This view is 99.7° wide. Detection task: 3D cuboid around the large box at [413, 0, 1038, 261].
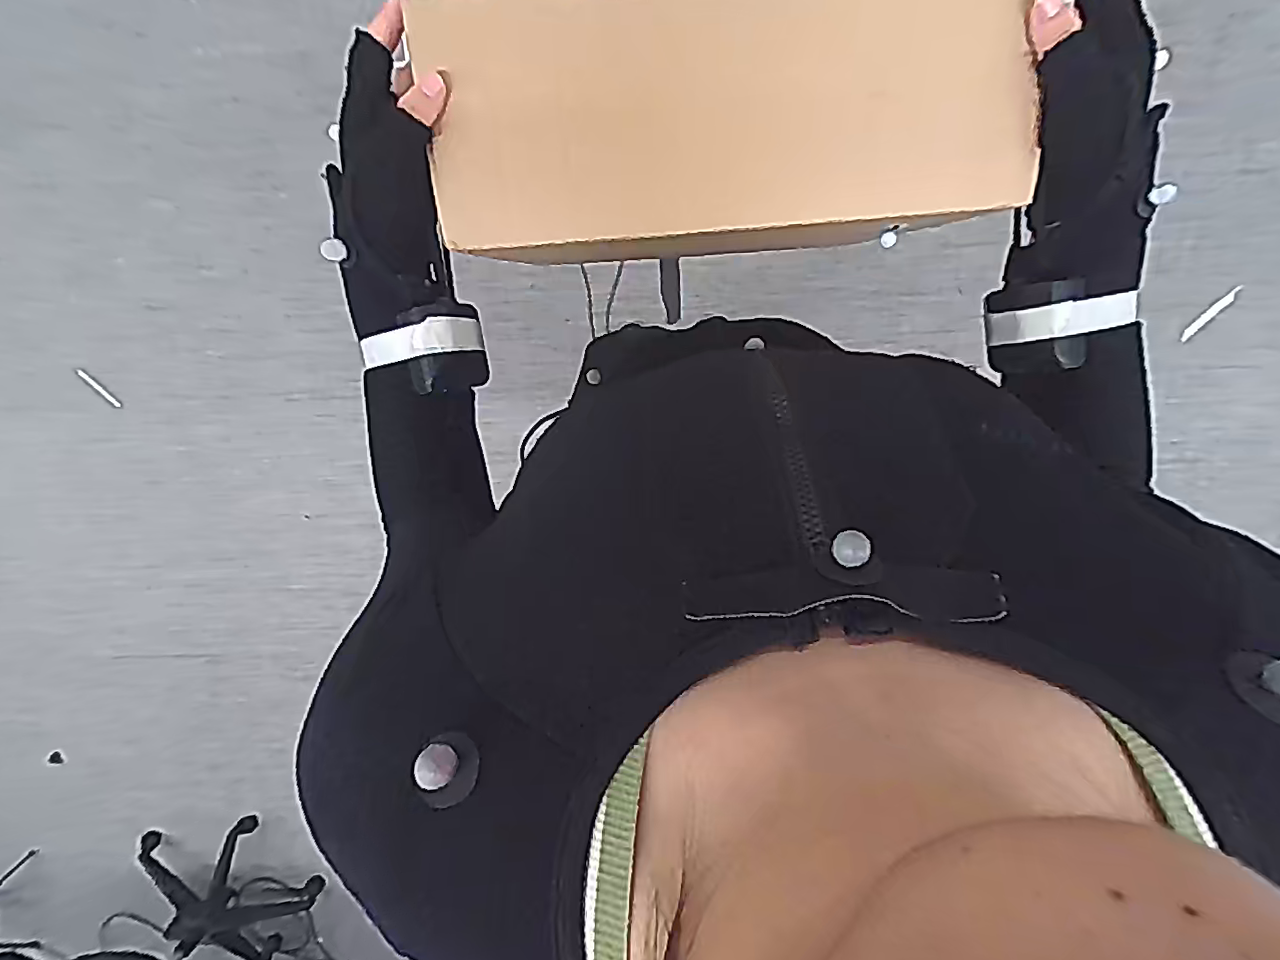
[{"bbox_3d":[0.054,-0.375,0.474,0.408,0.320,0.320,-4,109,1],"label":"large box"}]
